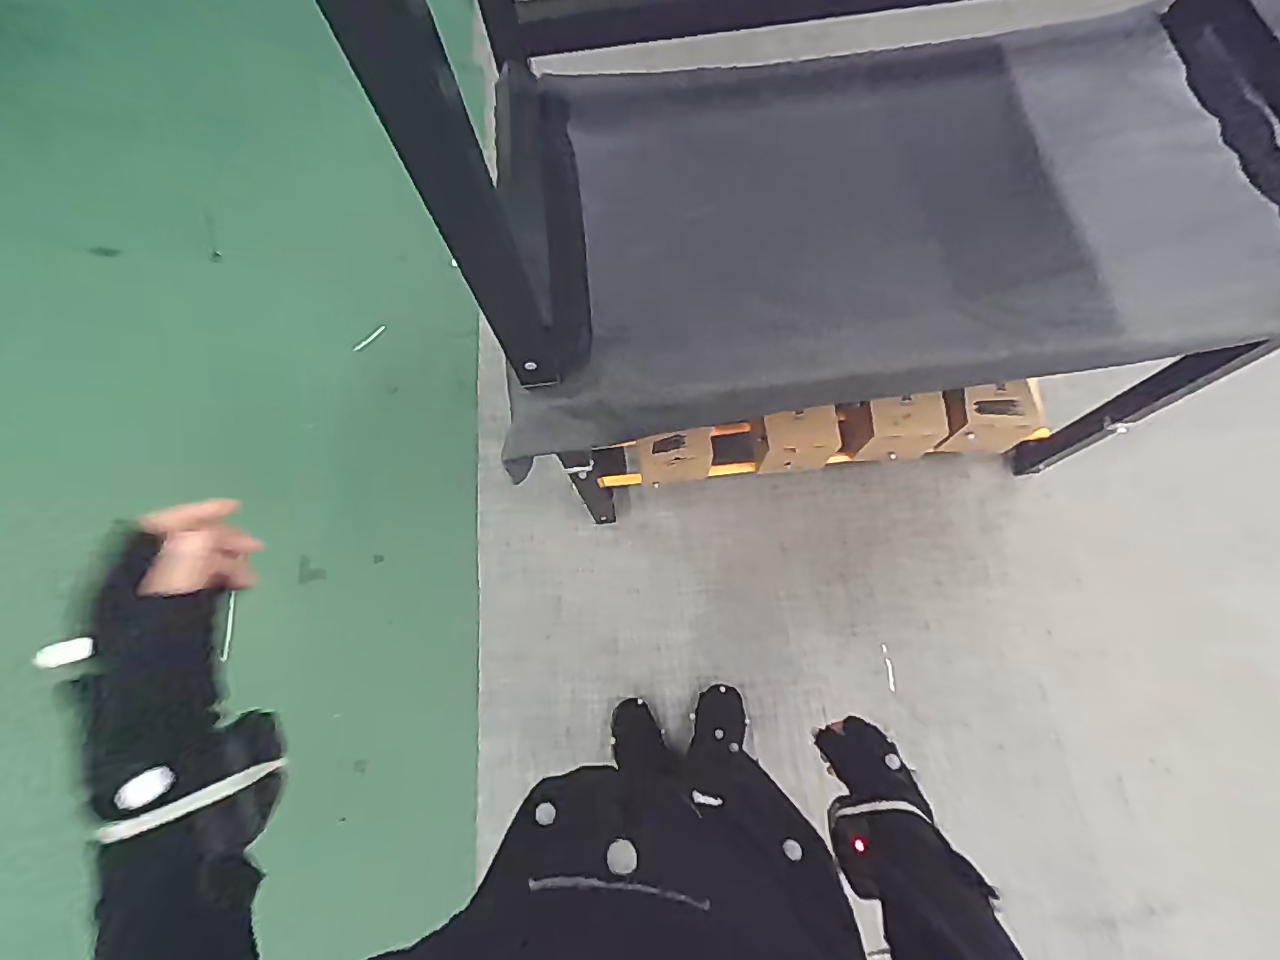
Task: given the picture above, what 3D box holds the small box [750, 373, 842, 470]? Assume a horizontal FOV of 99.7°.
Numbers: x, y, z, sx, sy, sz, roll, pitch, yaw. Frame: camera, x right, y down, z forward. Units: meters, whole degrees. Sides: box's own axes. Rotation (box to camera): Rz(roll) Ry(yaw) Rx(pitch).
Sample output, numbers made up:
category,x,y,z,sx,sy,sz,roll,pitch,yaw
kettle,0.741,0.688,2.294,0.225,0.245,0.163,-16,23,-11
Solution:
category,x,y,z,sx,sy,sz,roll,pitch,yaw
small box,0.366,-0.137,1.301,0.168,0.176,0.179,-5,73,2
